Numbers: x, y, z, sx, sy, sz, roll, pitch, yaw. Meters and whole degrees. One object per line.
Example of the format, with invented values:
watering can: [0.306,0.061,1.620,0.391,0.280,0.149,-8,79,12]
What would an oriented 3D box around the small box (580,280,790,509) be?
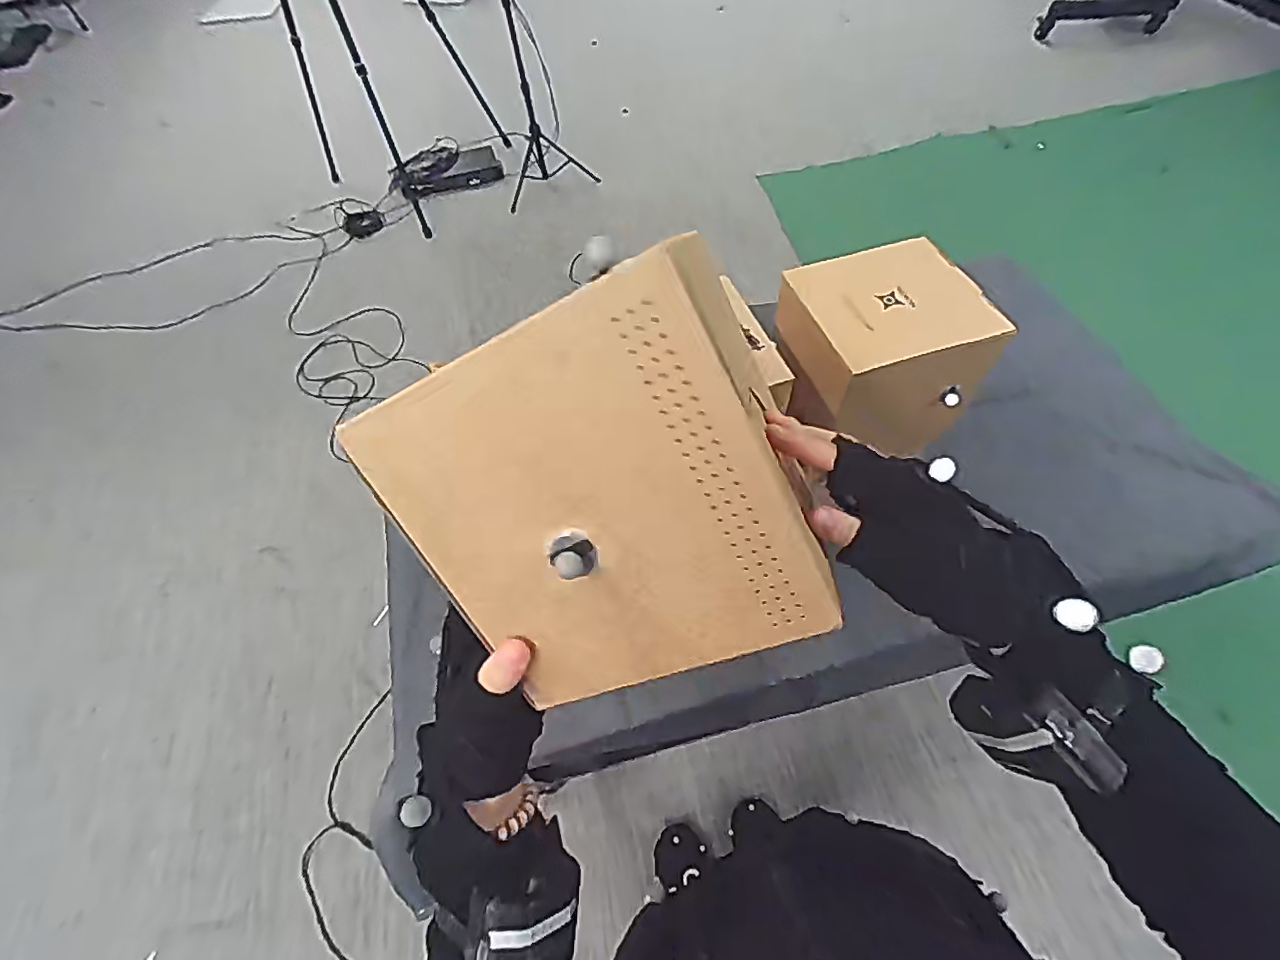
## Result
small box: [0.048,-0.090,0.621,0.179,0.176,0.168,-19,60,-6]
